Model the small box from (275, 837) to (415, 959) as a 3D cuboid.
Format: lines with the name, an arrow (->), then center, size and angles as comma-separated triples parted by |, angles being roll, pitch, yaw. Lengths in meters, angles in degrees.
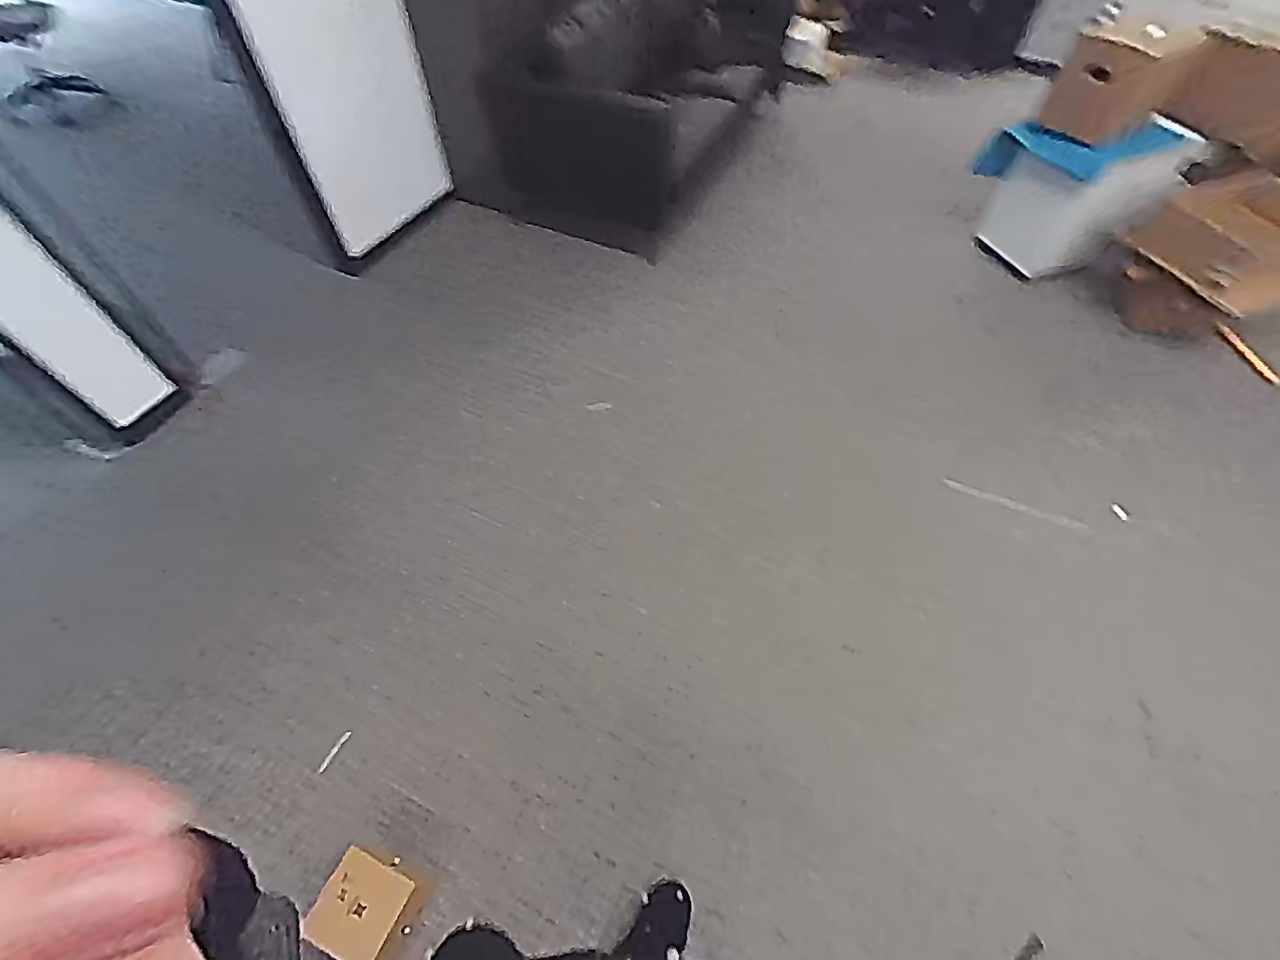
small box -> -0.626, 0.908, 1.176 | 0.179, 0.176, 0.168 | 22, 57, 14
